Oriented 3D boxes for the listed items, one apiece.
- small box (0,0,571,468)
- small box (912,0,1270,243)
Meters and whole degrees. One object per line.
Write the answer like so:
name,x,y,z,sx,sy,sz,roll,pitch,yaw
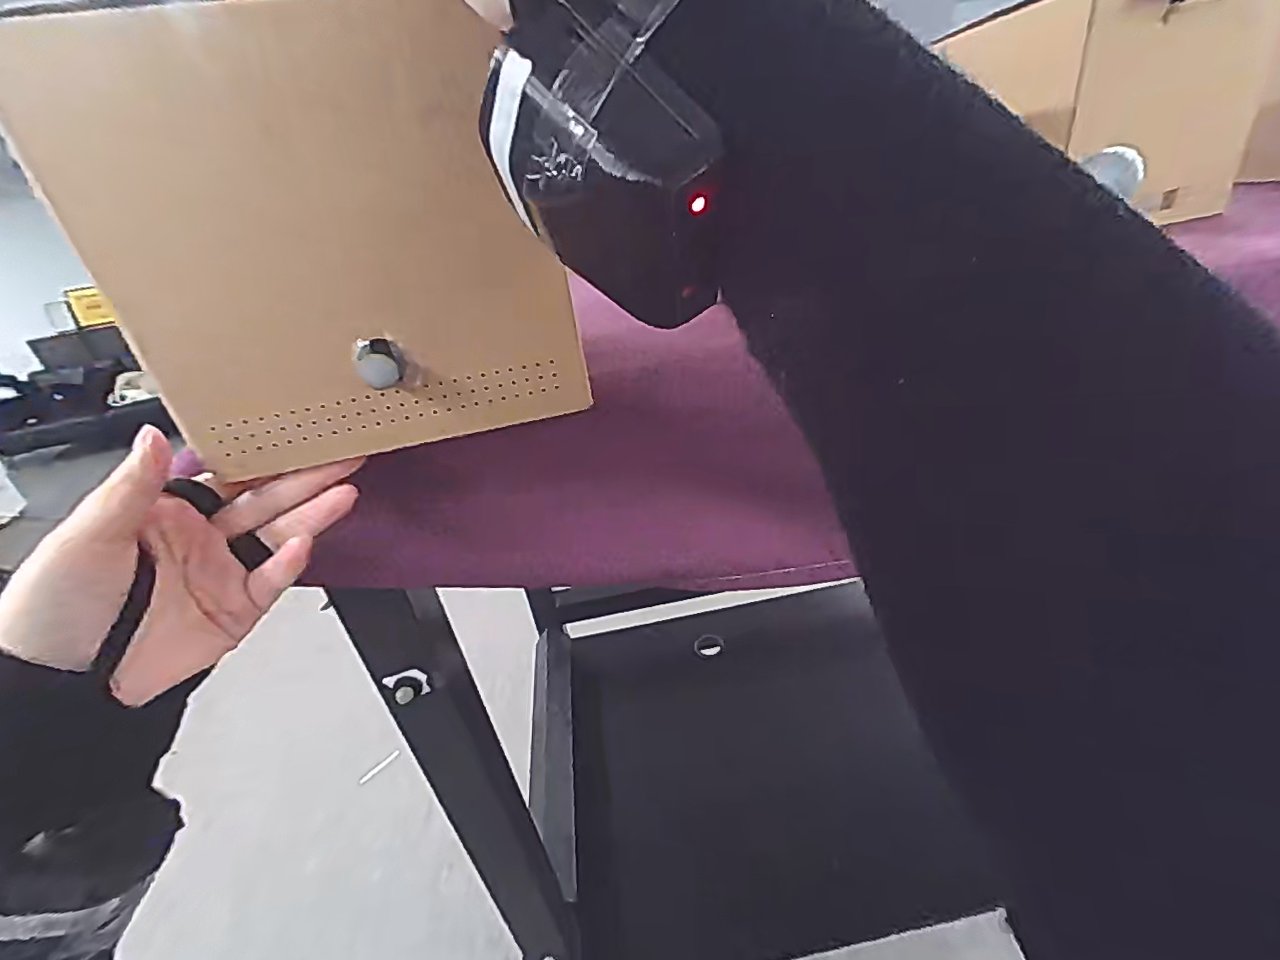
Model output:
small box,-0.136,-0.125,0.277,0.179,0.176,0.168,-13,30,-9
small box,0.364,-0.307,0.465,0.168,0.176,0.179,-13,27,-7
